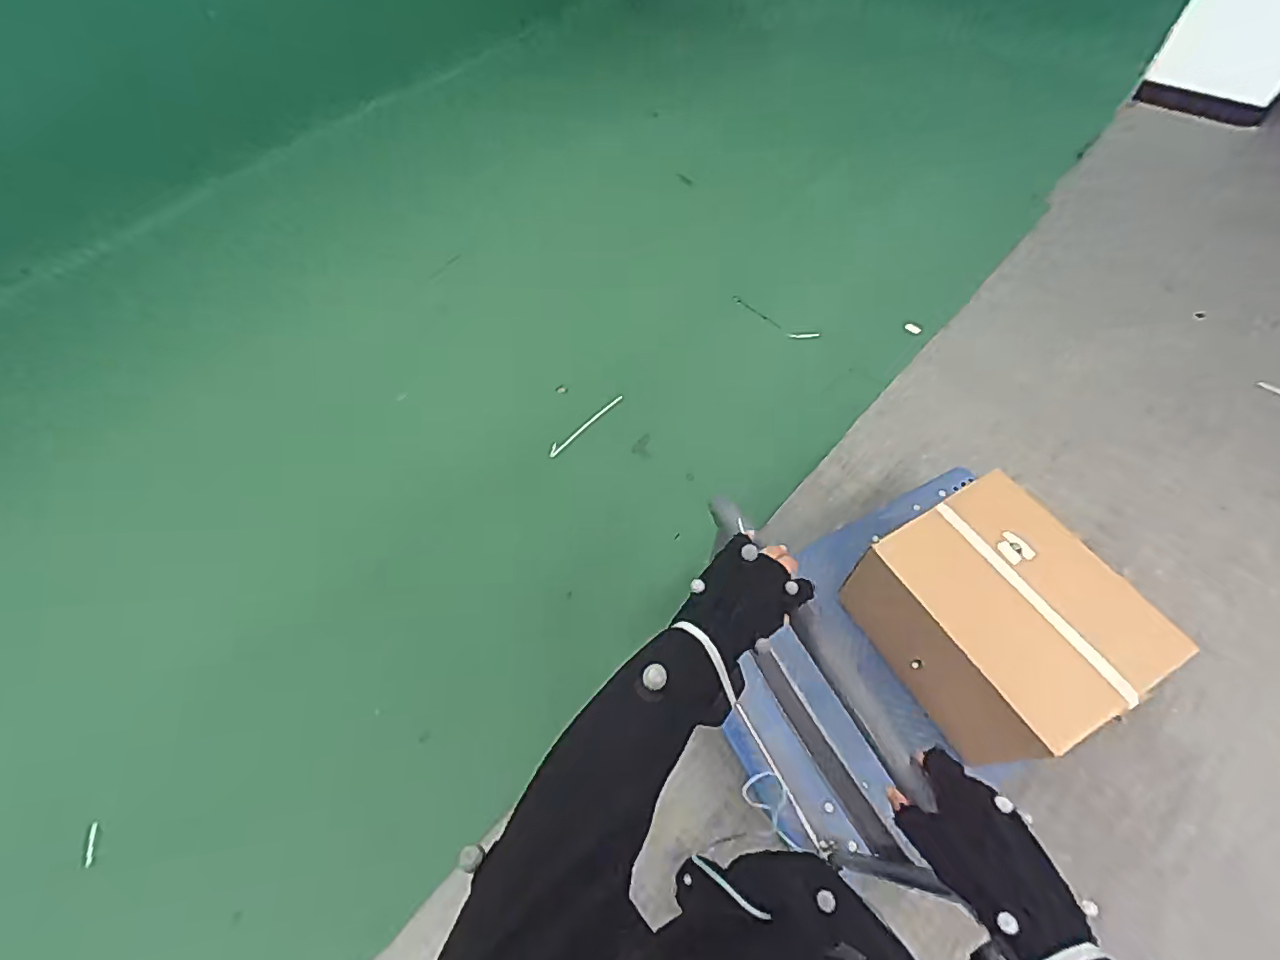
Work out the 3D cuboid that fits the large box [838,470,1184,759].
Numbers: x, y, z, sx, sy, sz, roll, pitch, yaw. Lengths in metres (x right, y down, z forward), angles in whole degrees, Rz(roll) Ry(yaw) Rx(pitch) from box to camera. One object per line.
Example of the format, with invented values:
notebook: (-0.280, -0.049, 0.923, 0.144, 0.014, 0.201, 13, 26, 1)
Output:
large box: (0.666, 0.267, 1.063, 0.320, 0.320, 0.408, -29, 60, -11)
